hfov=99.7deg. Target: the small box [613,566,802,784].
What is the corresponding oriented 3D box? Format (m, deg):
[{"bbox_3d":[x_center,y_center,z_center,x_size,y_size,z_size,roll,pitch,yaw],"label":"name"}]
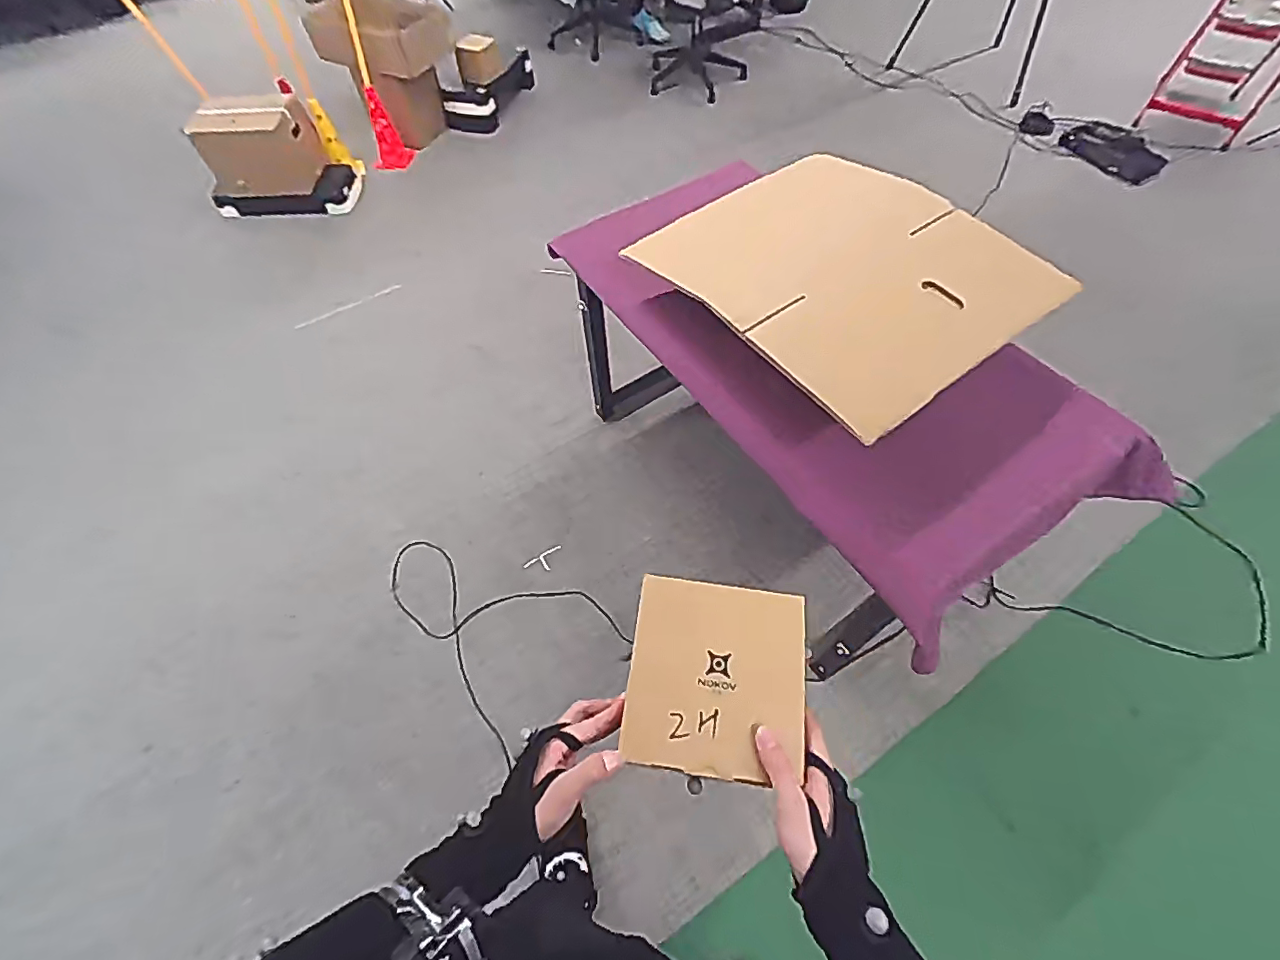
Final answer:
[{"bbox_3d":[0.068,0.212,0.577,0.168,0.176,0.179,7,62,5],"label":"small box"}]
